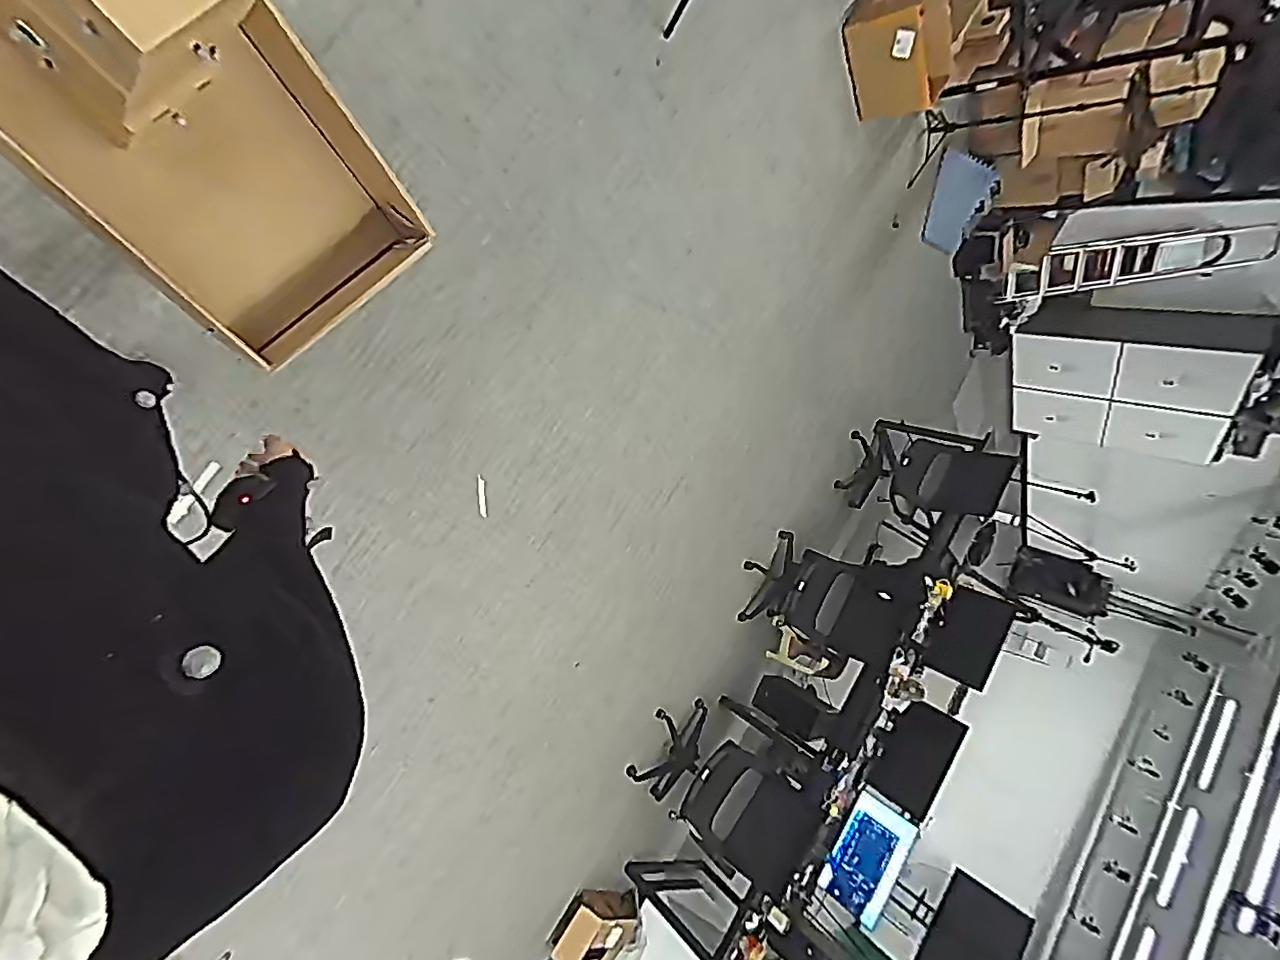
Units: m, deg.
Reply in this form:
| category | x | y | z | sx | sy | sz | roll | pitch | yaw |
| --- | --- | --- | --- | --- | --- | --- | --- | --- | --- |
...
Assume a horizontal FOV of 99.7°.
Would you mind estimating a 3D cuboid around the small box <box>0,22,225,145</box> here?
| category | x | y | z | sx | sy | sz | roll | pitch | yaw |
| --- | --- | --- | --- | --- | --- | --- | --- | --- | --- |
| small box | -0.724 | -0.592 | 0.733 | 0.168 | 0.176 | 0.179 | -53 | 137 | -16 |

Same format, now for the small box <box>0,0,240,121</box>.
| category | x | y | z | sx | sy | sz | roll | pitch | yaw |
| --- | --- | --- | --- | --- | --- | --- | --- | --- | --- |
| small box | -0.614 | -0.553 | 0.618 | 0.179 | 0.176 | 0.168 | -55 | 136 | -15 |
